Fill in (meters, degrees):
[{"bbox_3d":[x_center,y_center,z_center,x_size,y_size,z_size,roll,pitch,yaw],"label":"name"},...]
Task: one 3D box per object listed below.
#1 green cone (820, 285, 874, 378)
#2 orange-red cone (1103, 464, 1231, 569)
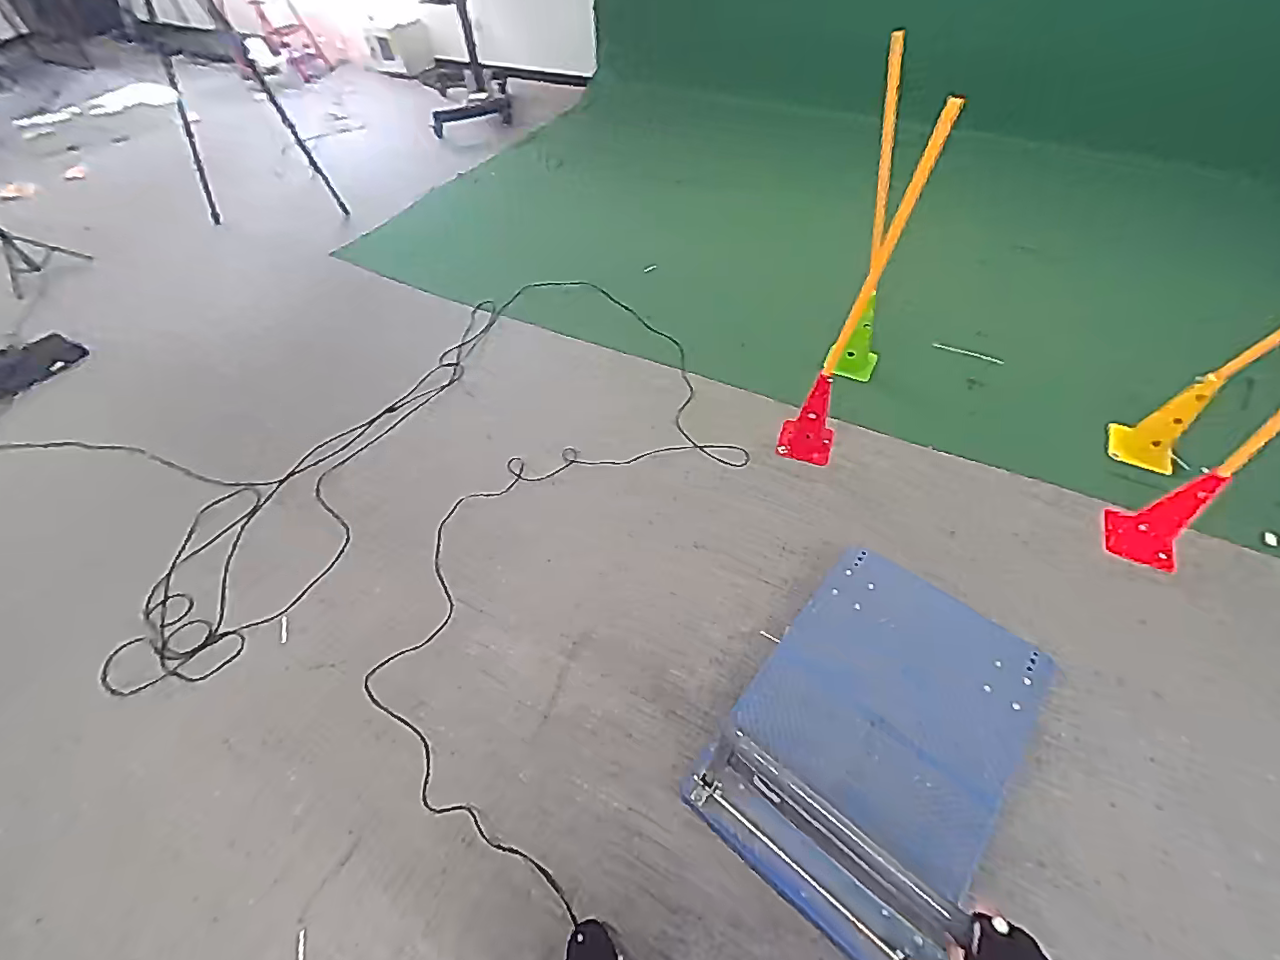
[{"bbox_3d":[0.908,-0.637,2.257,0.200,0.368,0.202,21,55,19],"label":"green cone"},{"bbox_3d":[1.645,0.080,1.658,0.198,0.360,0.199,22,54,18],"label":"orange-red cone"}]
